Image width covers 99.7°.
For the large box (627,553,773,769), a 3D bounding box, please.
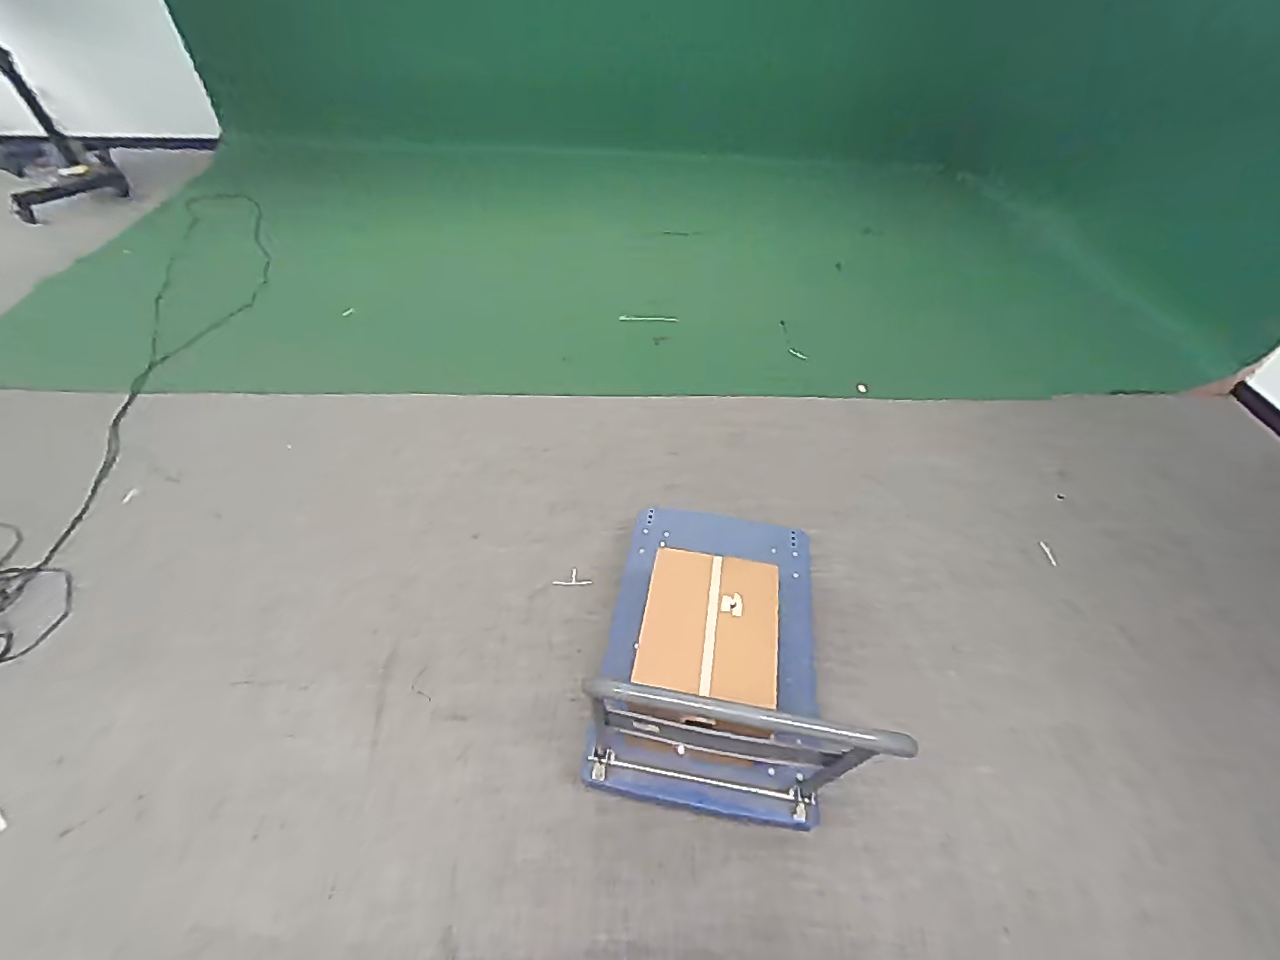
[{"bbox_3d":[0.149,0.453,1.363,0.320,0.320,0.408,9,47,5],"label":"large box"}]
